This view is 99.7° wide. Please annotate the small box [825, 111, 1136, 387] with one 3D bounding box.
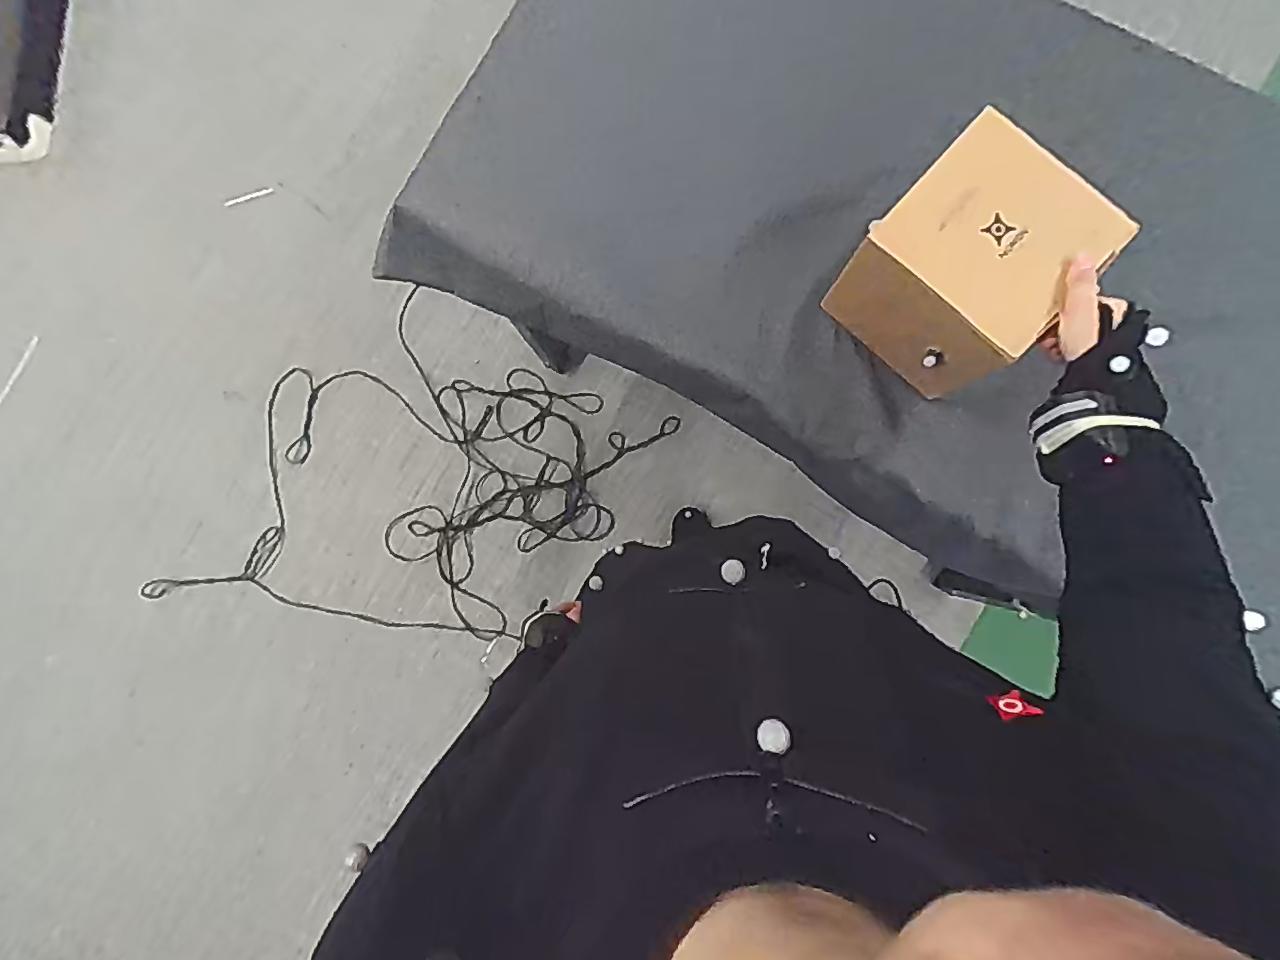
[{"bbox_3d":[0.328,-0.216,0.564,0.179,0.176,0.168,44,90,6],"label":"small box"}]
